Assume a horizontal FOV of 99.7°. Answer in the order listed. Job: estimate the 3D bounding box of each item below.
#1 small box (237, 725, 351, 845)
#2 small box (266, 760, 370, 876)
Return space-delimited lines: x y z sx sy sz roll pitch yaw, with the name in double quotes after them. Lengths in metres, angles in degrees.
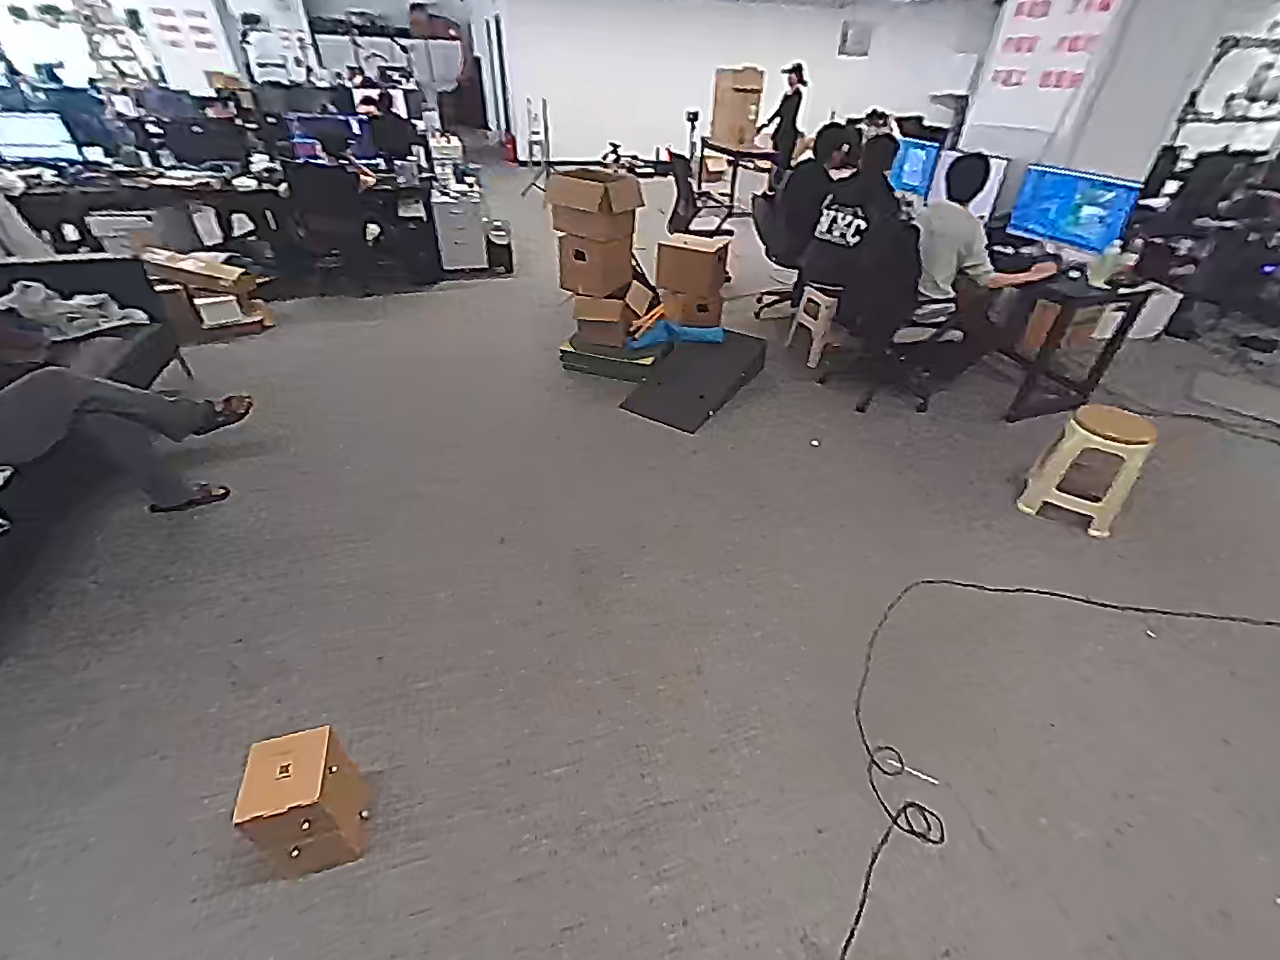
-0.785 0.710 1.249 0.168 0.176 0.179 -9 37 -15 "small box"
-0.788 0.839 1.346 0.168 0.176 0.179 -8 38 -13 "small box"
